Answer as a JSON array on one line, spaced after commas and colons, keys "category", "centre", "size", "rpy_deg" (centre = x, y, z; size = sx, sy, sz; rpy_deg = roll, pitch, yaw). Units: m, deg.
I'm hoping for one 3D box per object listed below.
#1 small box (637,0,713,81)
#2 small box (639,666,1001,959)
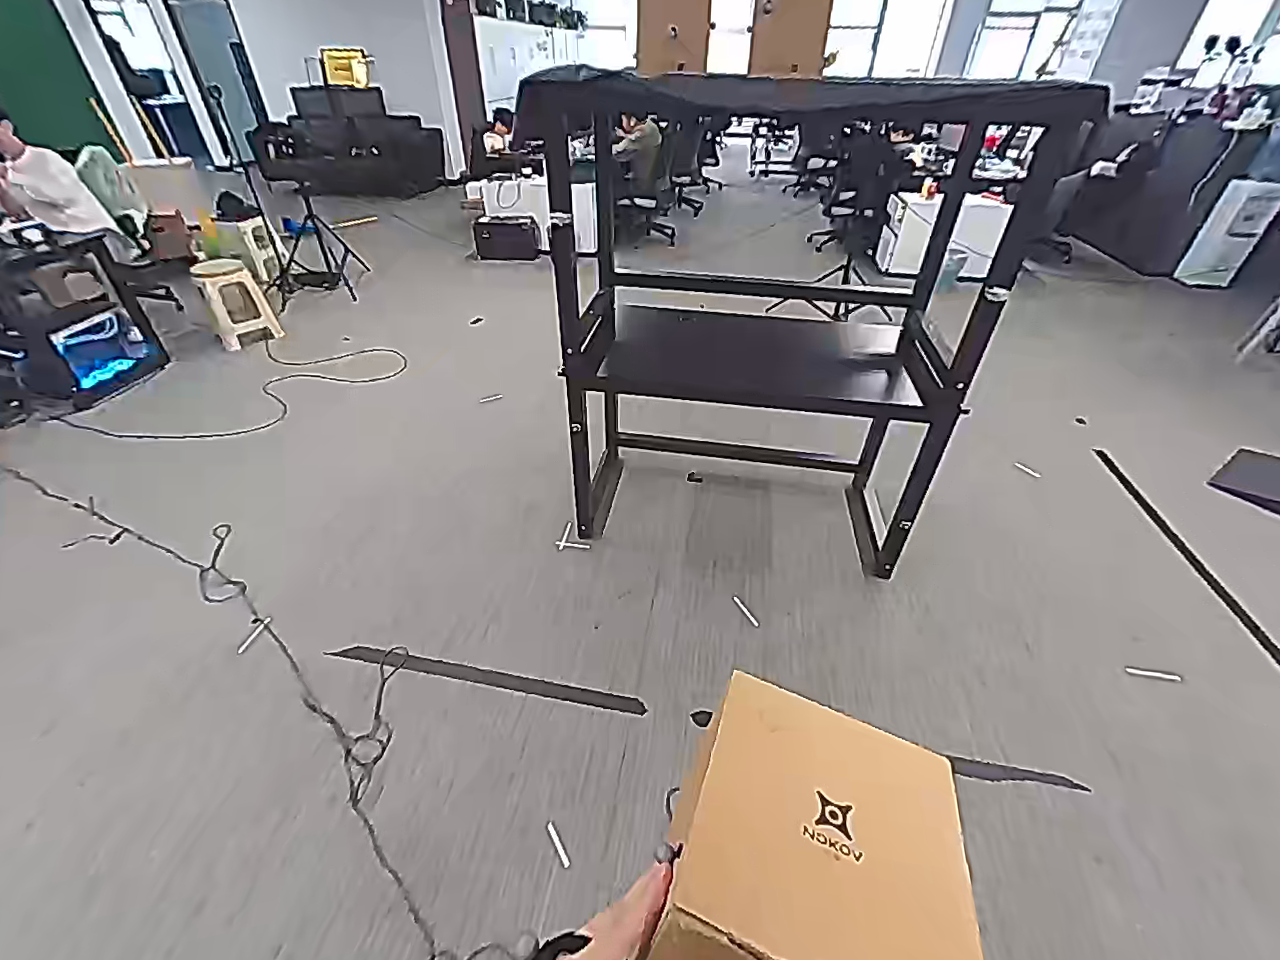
[{"category": "small box", "centre": [0.082, -1.036, 1.257], "size": [0.168, 0.176, 0.179], "rpy_deg": [5, 37, 3]}, {"category": "small box", "centre": [0.108, 0.273, 0.368], "size": [0.168, 0.176, 0.179], "rpy_deg": [19, 31, 12]}]
